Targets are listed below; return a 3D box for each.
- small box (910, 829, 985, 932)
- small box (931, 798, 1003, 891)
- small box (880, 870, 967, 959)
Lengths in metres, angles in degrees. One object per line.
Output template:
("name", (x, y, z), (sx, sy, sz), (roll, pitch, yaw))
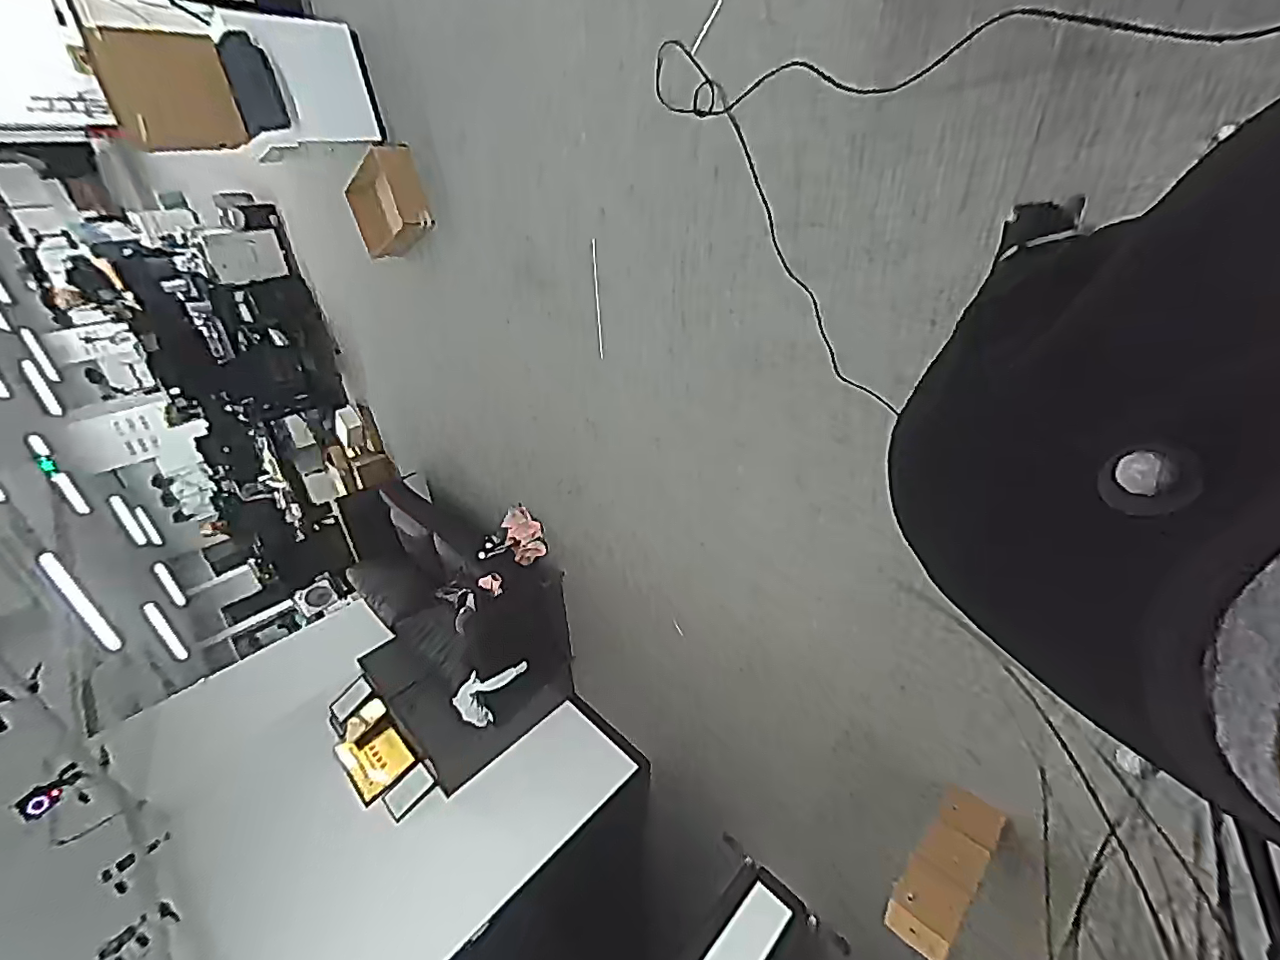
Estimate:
("small box", (0.985, 1.286, 1.748), (0.179, 0.176, 0.168), (20, 126, 40))
("small box", (1.105, 1.231, 1.847), (0.179, 0.176, 0.168), (21, 127, 40))
("small box", (0.864, 1.343, 1.651), (0.179, 0.176, 0.168), (22, 128, 40))
